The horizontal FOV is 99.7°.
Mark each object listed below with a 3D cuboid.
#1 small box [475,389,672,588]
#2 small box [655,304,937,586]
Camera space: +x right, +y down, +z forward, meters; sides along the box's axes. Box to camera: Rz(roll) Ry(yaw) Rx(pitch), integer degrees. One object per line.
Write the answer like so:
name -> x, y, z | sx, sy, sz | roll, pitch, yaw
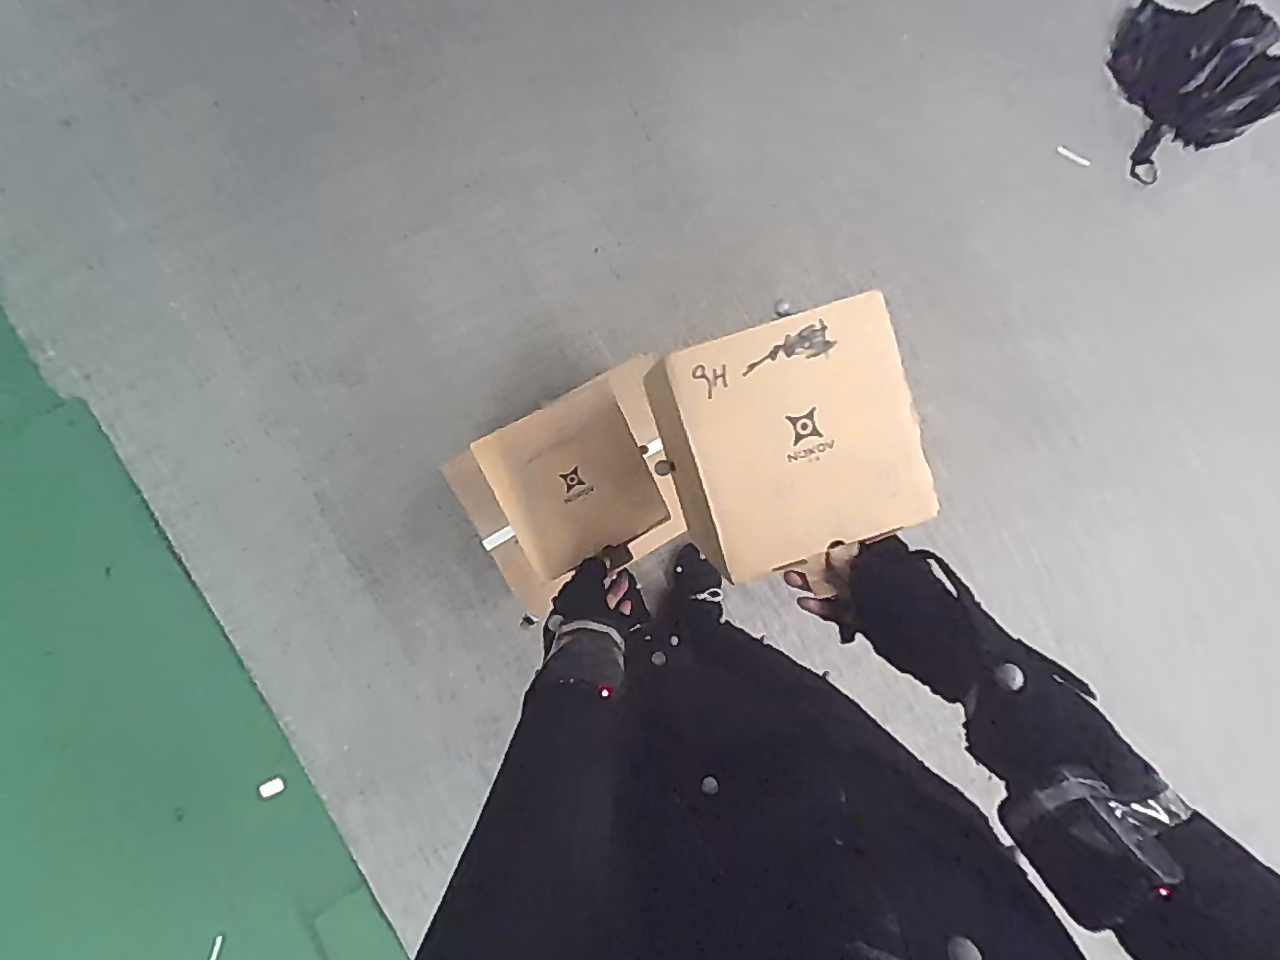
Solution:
small box -> -0.082, 0.005, 0.677 | 0.168, 0.176, 0.179 | -27, 96, -8
small box -> 0.119, -0.032, 0.476 | 0.168, 0.176, 0.179 | -17, 96, -3
